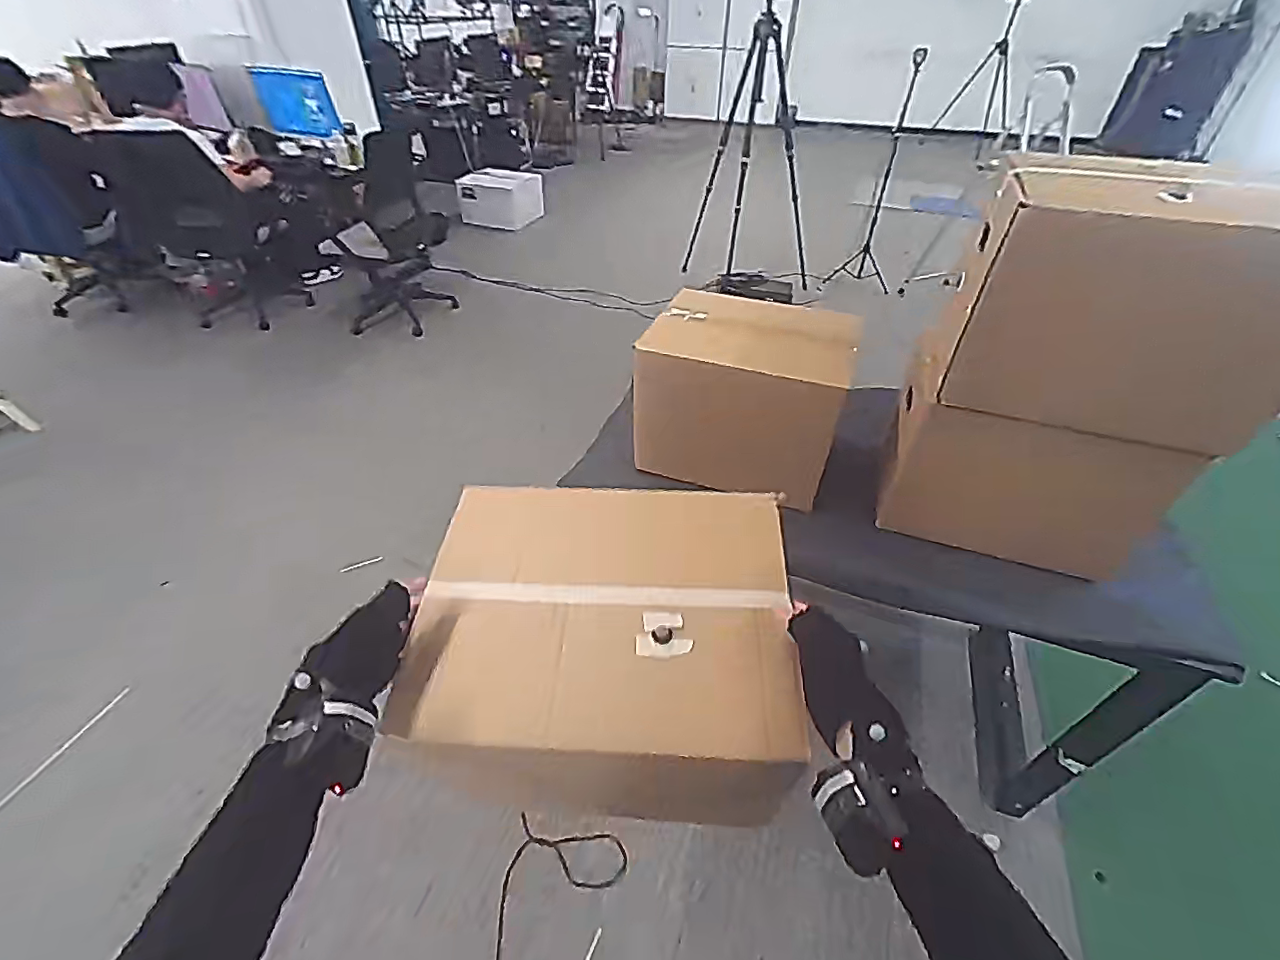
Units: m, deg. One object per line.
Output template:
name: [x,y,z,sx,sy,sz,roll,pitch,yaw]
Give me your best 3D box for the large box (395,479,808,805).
large box: [-0.032,0.217,0.718,0.408,0.320,0.320,2,49,3]
